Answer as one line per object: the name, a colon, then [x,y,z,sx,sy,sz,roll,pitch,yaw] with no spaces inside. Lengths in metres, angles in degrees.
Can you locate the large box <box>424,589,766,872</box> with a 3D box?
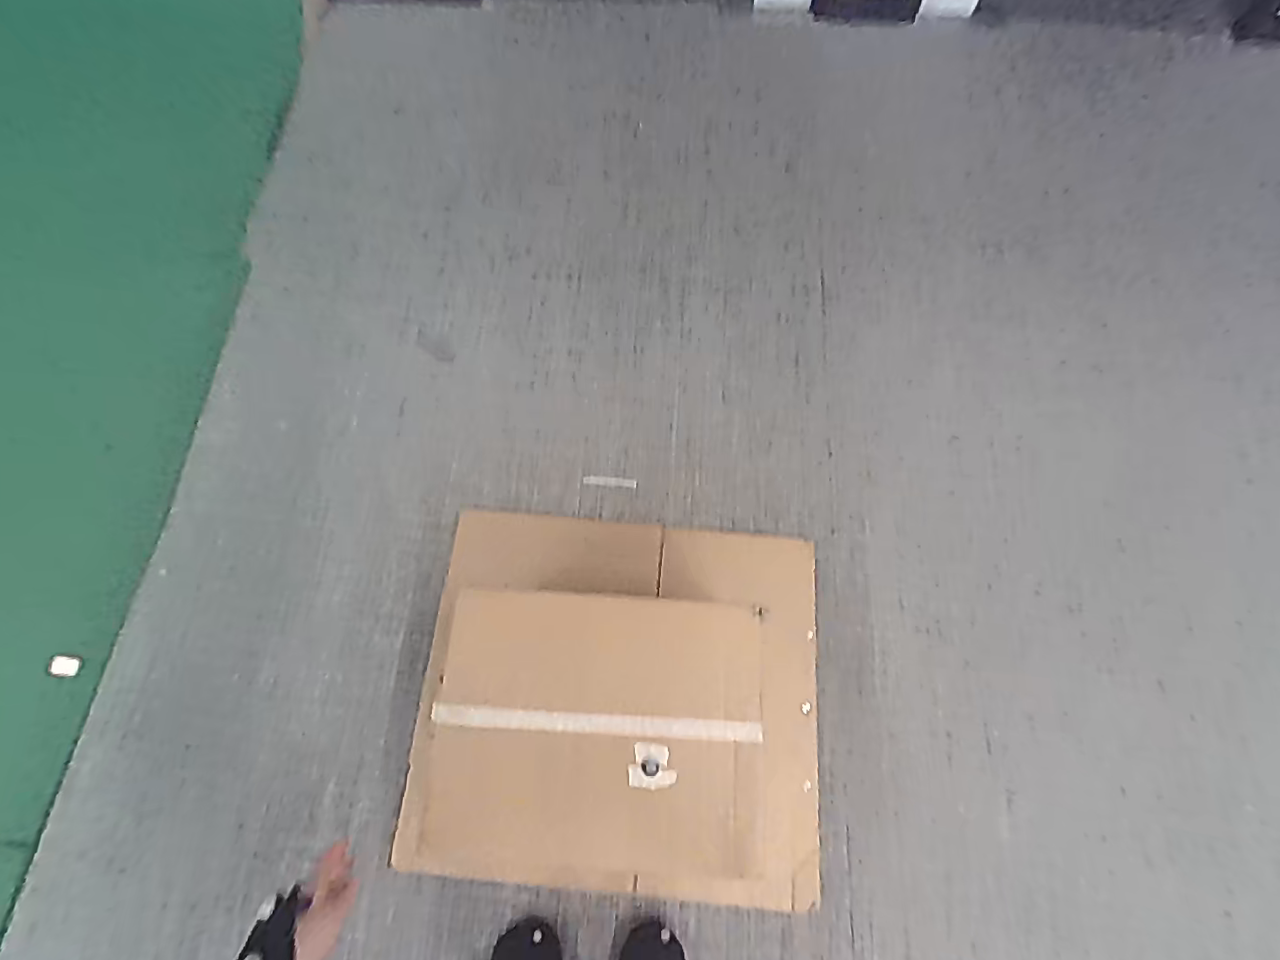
large box: [-0.052,0.351,0.811,0.408,0.320,0.320,4,71,-1]
